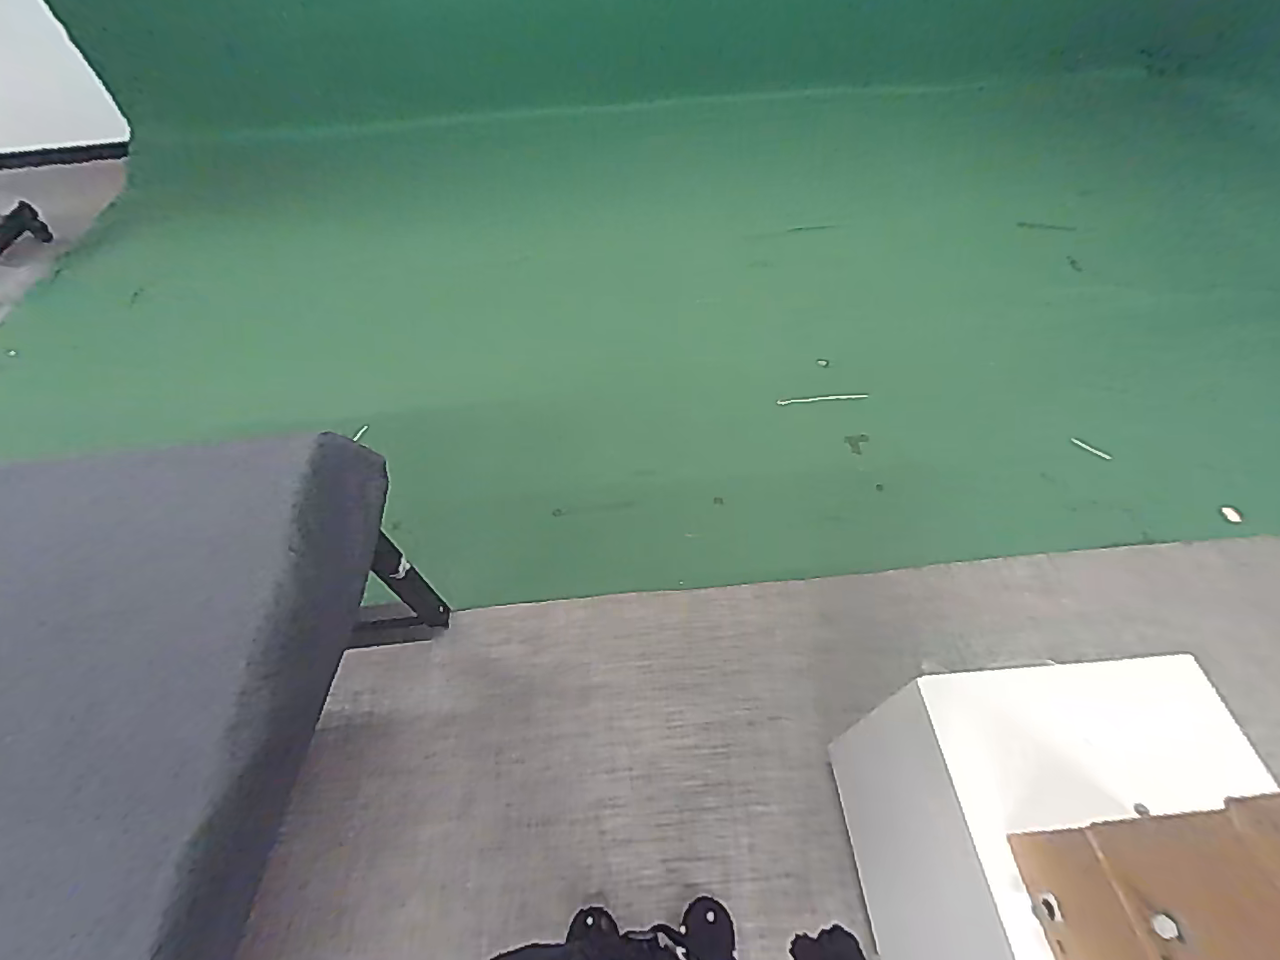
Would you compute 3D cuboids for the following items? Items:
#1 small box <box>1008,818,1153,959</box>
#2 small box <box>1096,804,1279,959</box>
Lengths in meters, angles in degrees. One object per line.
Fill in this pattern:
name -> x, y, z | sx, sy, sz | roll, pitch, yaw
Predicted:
small box -> 0.527, 0.443, 0.545 | 0.179, 0.176, 0.168 | -7, 54, 0
small box -> 0.522, 0.346, 0.412 | 0.179, 0.176, 0.168 | -7, 54, -3
